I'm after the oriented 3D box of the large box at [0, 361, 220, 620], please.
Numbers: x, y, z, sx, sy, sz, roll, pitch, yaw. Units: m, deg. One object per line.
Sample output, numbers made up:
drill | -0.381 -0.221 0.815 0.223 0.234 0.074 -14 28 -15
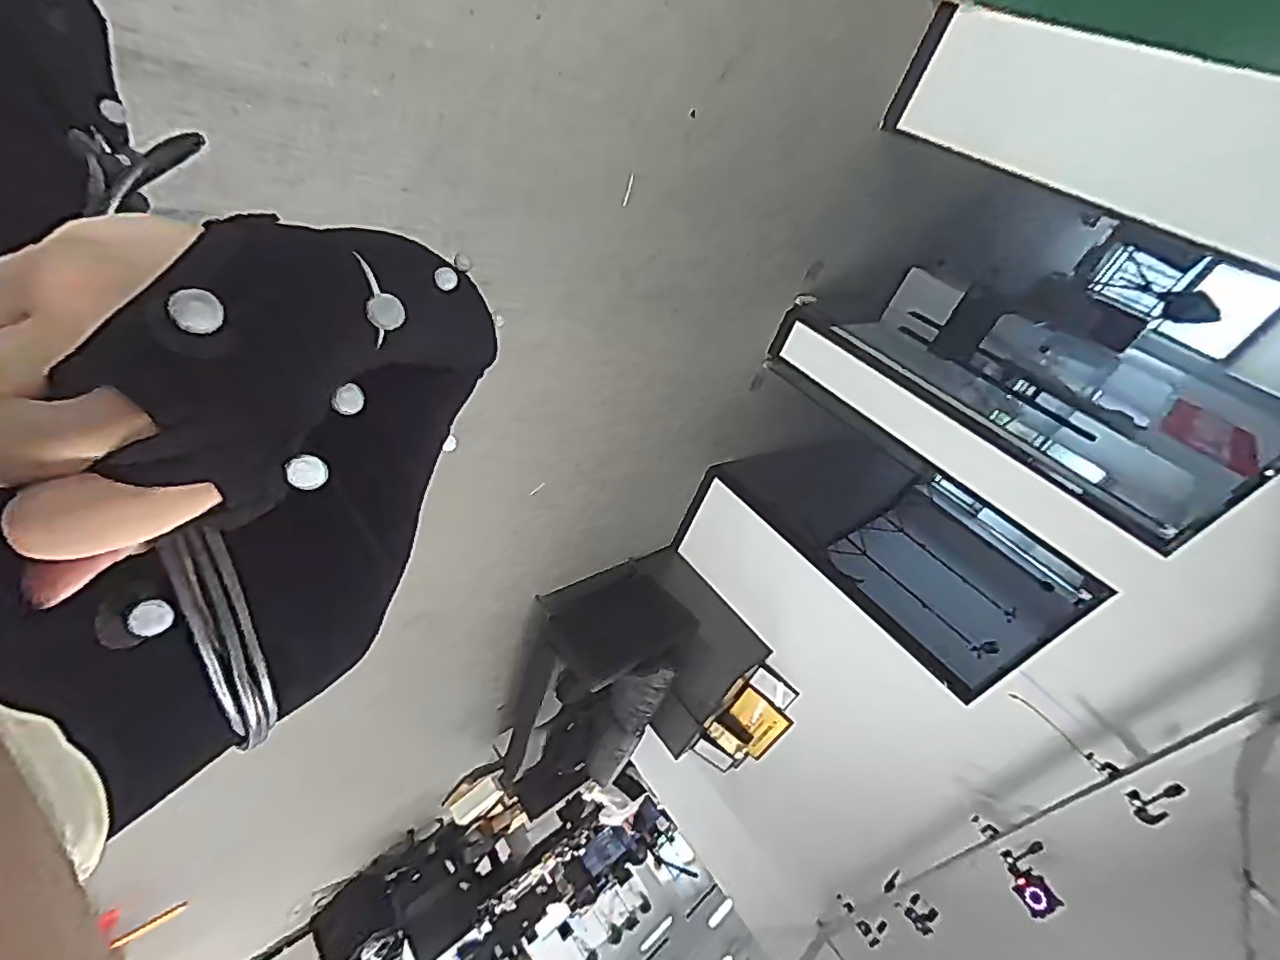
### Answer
large box | -1.152 0.010 1.143 0.320 0.320 0.408 -17 142 -41
